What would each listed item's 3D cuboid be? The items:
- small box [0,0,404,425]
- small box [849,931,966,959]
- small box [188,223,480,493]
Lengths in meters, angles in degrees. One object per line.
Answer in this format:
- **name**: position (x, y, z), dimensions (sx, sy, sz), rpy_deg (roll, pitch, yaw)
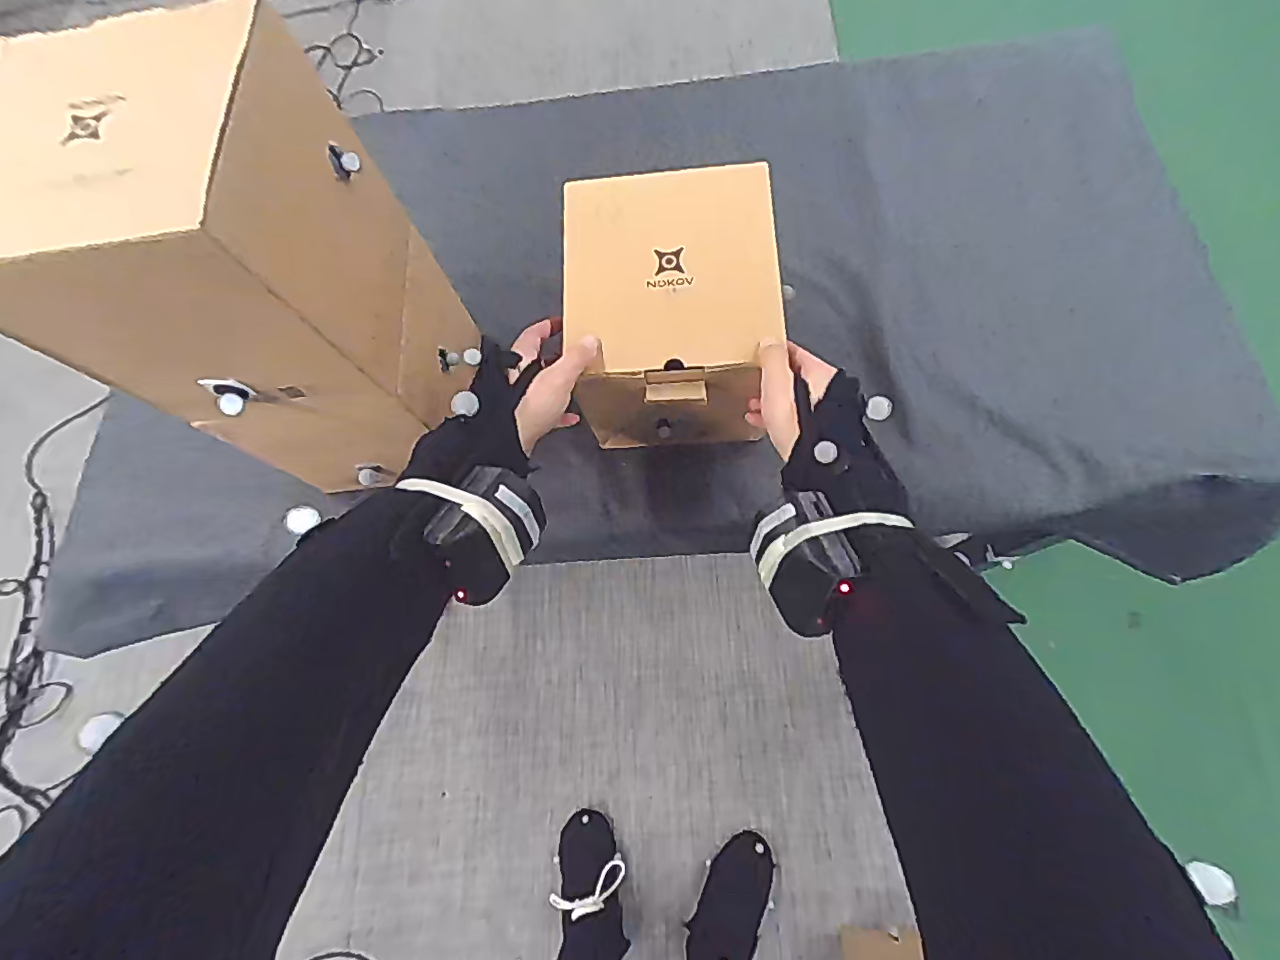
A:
- **small box**: position (-0.275, -0.156, 0.354), dimensions (0.168, 0.176, 0.179), rpy_deg (-8, 70, 4)
- **small box**: position (0.446, 0.859, 0.866), dimensions (0.179, 0.176, 0.168), rpy_deg (-5, 70, 5)
- **small box**: position (-0.260, -0.102, 0.507), dimensions (0.168, 0.176, 0.179), rpy_deg (-7, 70, 3)
